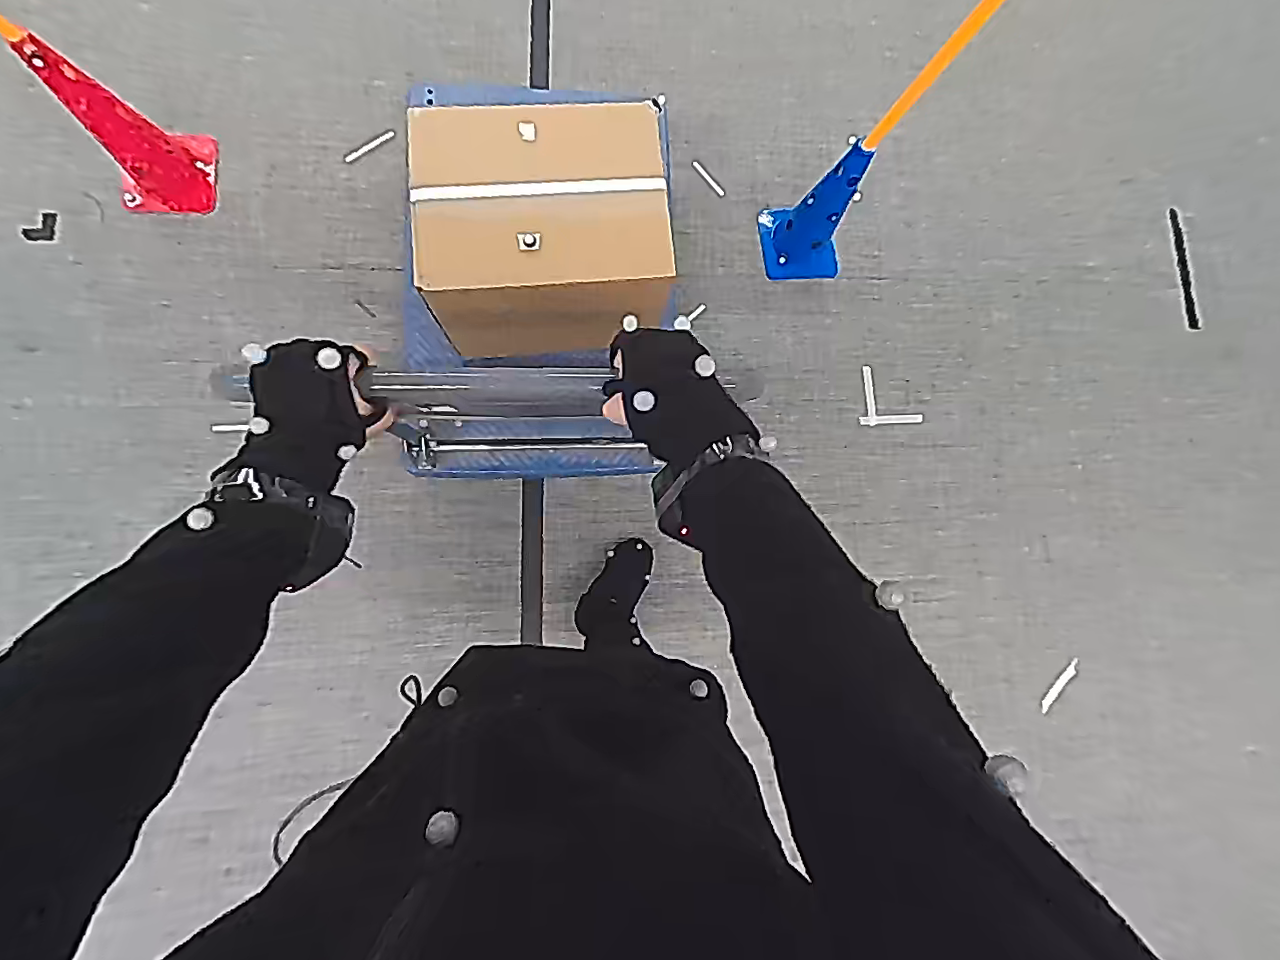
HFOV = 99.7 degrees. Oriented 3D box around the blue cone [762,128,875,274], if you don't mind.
[{"bbox_3d":[0.441,-0.657,1.268,0.193,0.380,0.192,-5,82,-7],"label":"blue cone"}]
